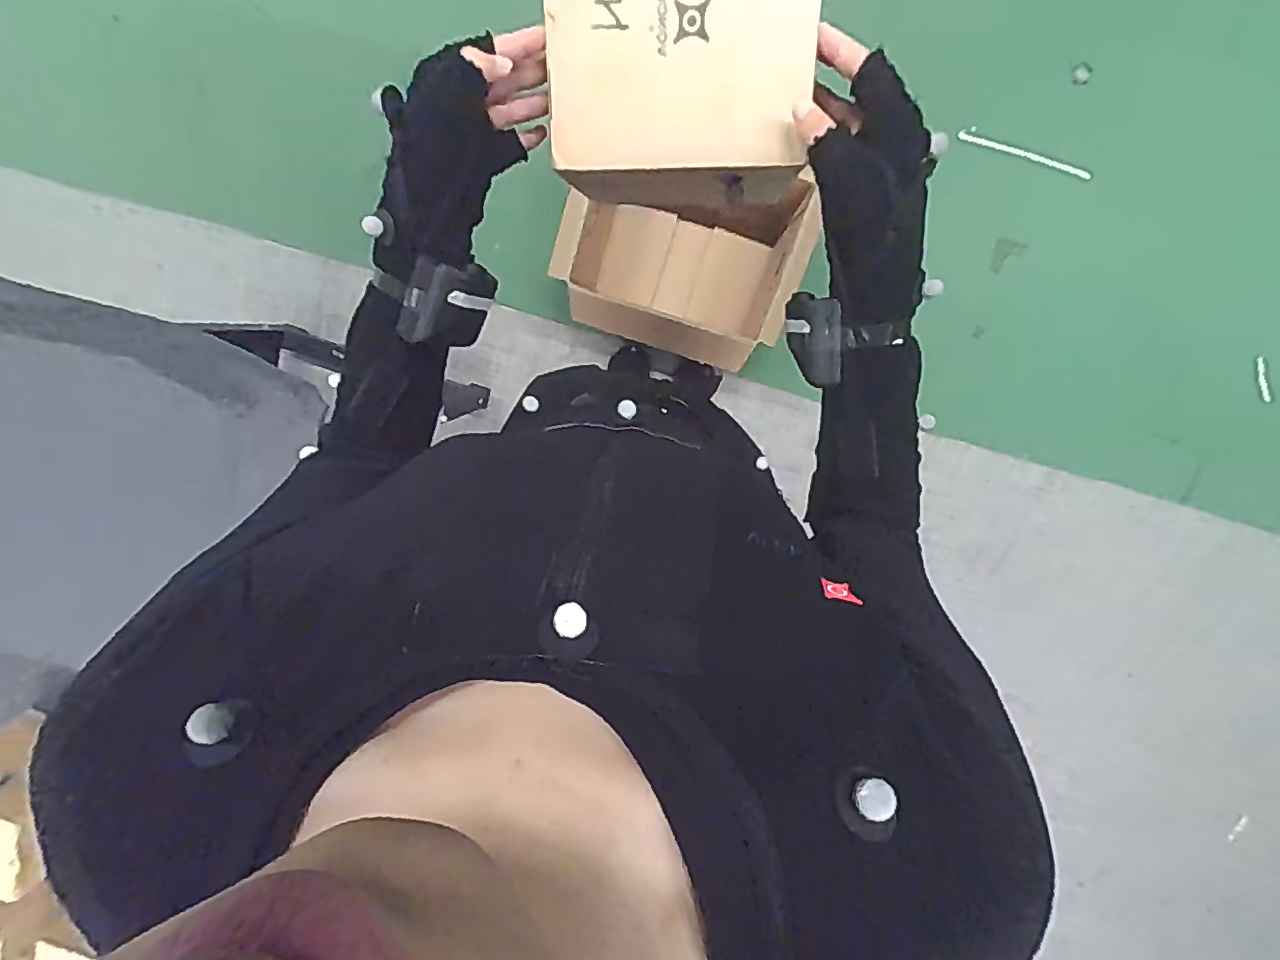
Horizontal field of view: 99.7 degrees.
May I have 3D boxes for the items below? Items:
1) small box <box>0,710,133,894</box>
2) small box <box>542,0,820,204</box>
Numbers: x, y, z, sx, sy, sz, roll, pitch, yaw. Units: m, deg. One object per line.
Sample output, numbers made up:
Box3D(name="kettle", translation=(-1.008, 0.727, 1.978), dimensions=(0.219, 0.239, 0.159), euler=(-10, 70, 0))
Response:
Box3D(name="small box", translation=(-0.984, 0.504, 0.870), dimensions=(0.179, 0.176, 0.168), euler=(19, 106, -2))
Box3D(name="small box", translation=(0.032, -0.316, 0.414), dimensions=(0.179, 0.176, 0.168), euler=(2, 110, 6))
